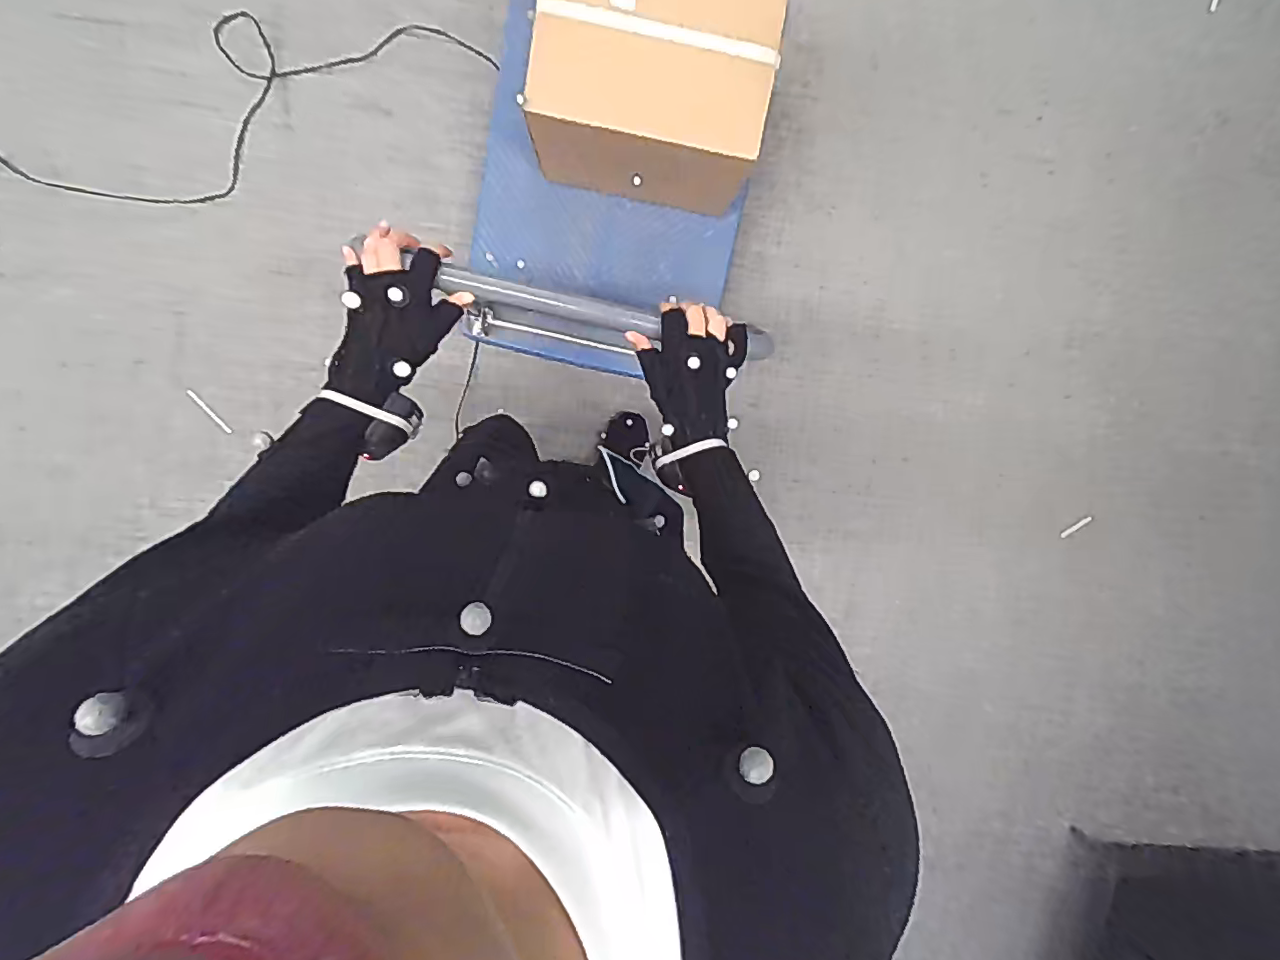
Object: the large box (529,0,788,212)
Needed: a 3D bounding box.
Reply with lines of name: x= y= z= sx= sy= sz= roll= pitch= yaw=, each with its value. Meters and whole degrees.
large box: x=0.029 y=-0.753 z=1.038 sx=0.408 sy=0.320 sz=0.320 roll=9 pitch=98 yaw=-4
